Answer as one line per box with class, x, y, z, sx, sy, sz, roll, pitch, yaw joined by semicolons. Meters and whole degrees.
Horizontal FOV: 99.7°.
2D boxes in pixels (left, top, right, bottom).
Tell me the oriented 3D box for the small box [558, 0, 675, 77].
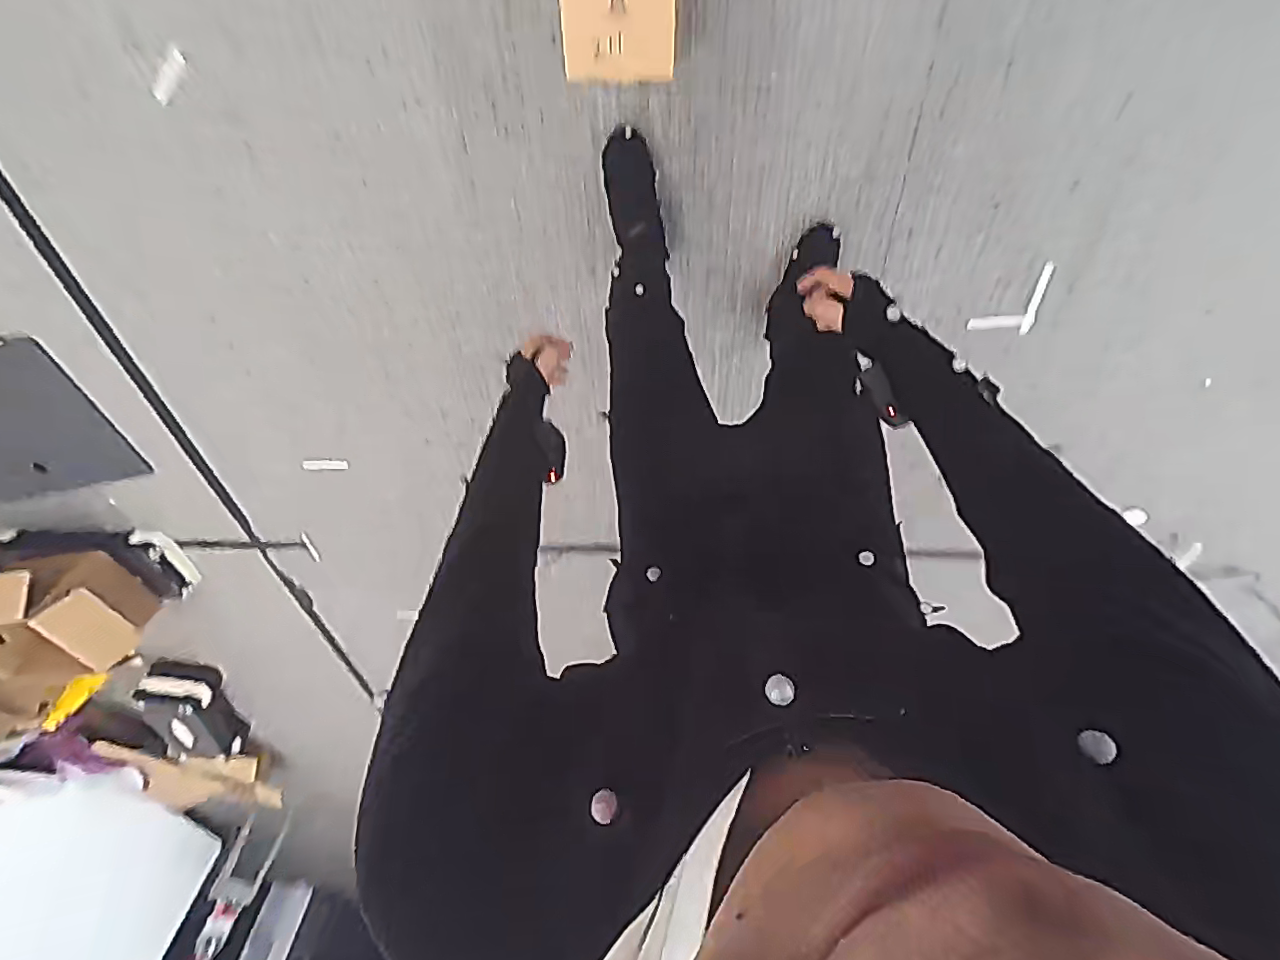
small box;-0.032;-0.724;0.820;0.168;0.176;0.179;2;130;3
